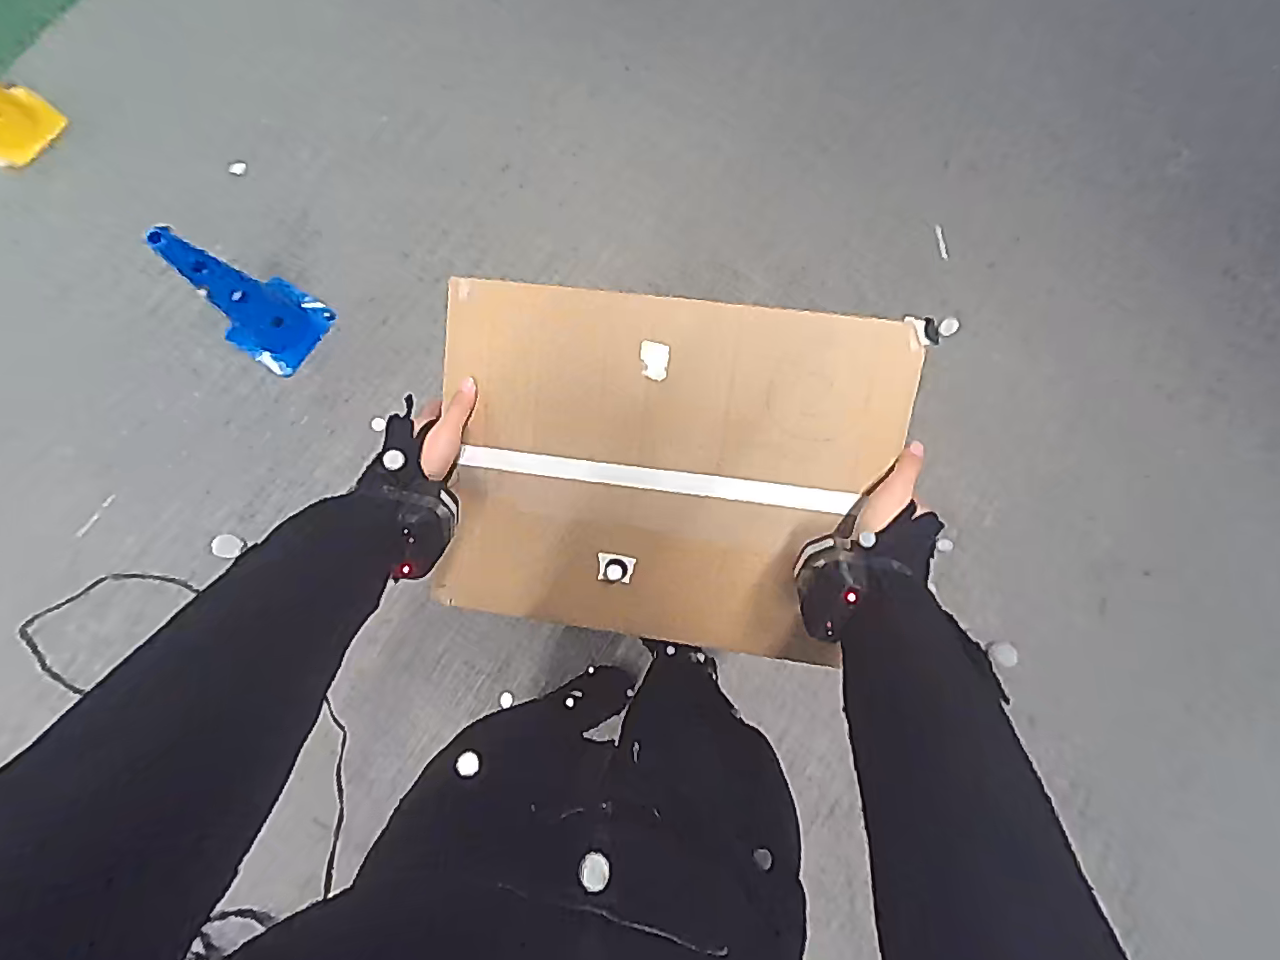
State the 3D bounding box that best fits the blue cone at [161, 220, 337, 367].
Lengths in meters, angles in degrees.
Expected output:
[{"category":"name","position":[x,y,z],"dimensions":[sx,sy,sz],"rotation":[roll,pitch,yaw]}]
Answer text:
[{"category":"blue cone","position":[-0.864,-0.414,1.165],"dimensions":[0.193,0.380,0.192],"rotation":[33,80,5]}]
